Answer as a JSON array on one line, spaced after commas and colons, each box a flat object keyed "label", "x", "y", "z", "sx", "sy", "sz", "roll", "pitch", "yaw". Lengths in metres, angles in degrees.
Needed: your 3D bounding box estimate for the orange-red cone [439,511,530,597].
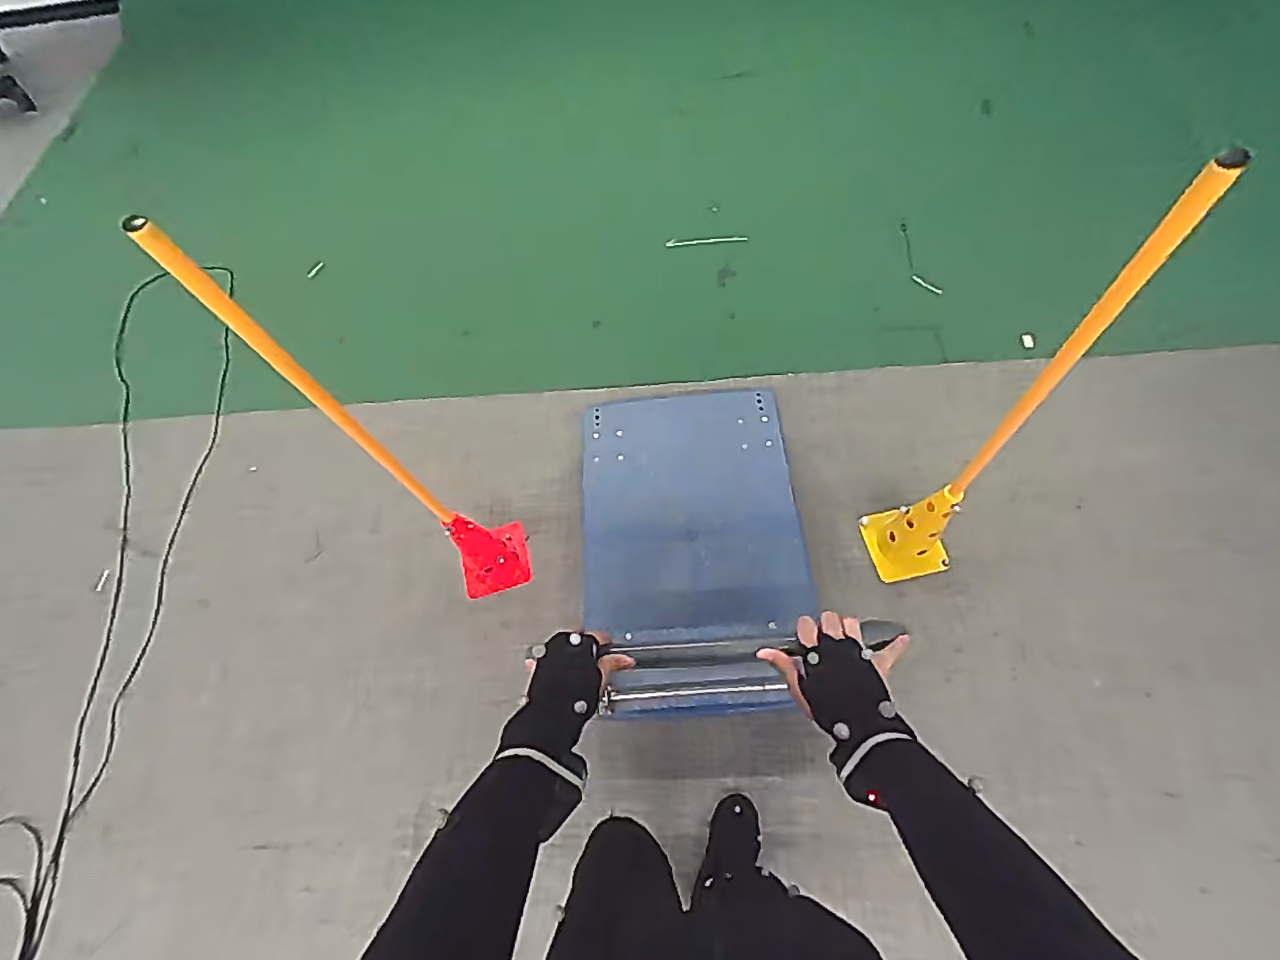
[{"label": "orange-red cone", "x": -0.454, "y": 0.168, "z": 1.472, "sx": 0.199, "sy": 0.360, "sz": 0.198, "roll": -17, "pitch": 64, "yaw": 0}]
